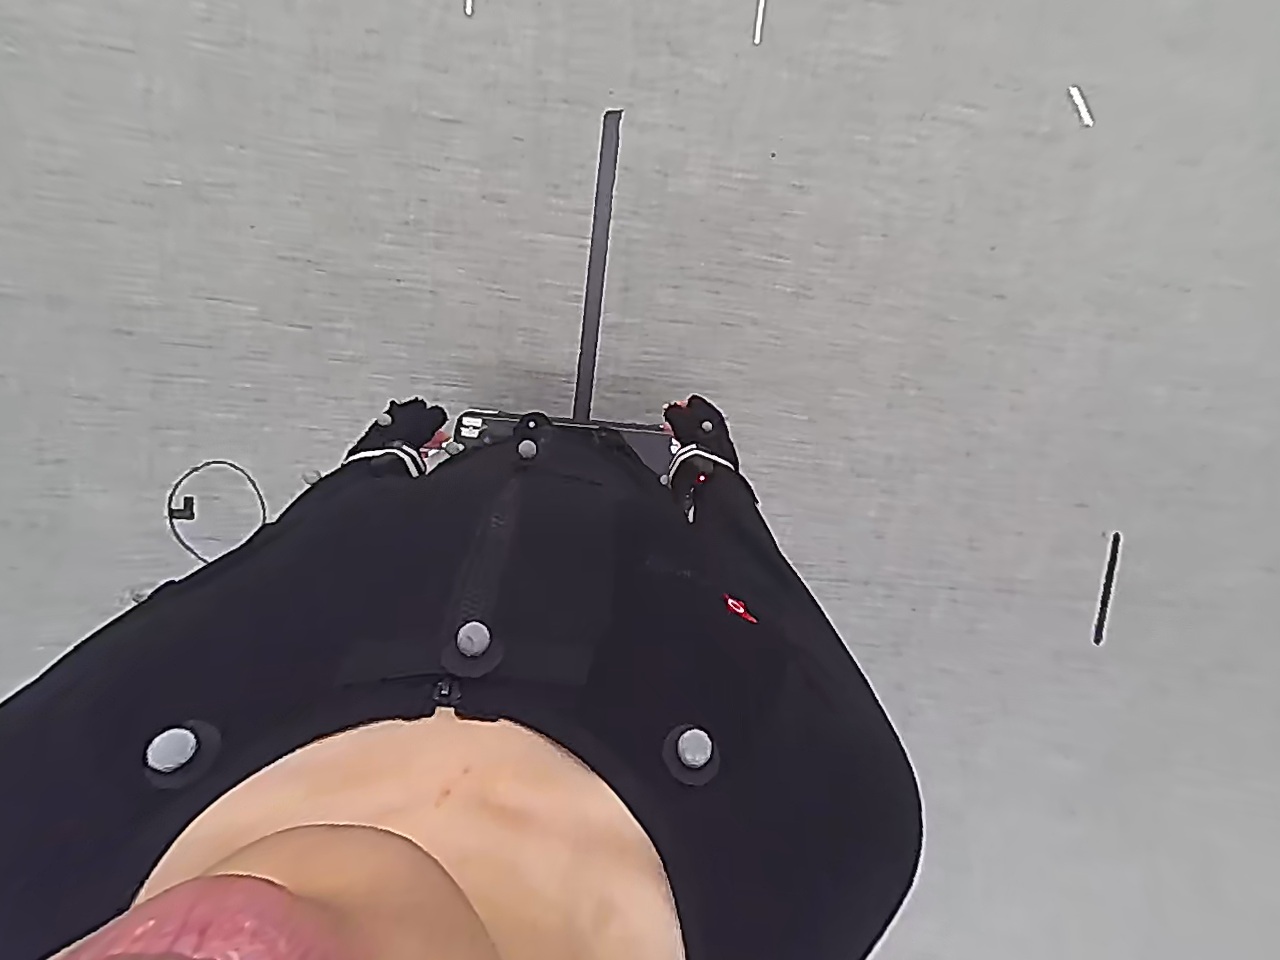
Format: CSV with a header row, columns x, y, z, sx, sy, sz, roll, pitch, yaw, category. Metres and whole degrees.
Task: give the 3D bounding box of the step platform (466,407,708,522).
x,y,z,sx,sy,sz,roll,pitch,yaw,category
-0.148,-0.046,1.565,0.684,0.204,0.286,4,97,-6,step platform
